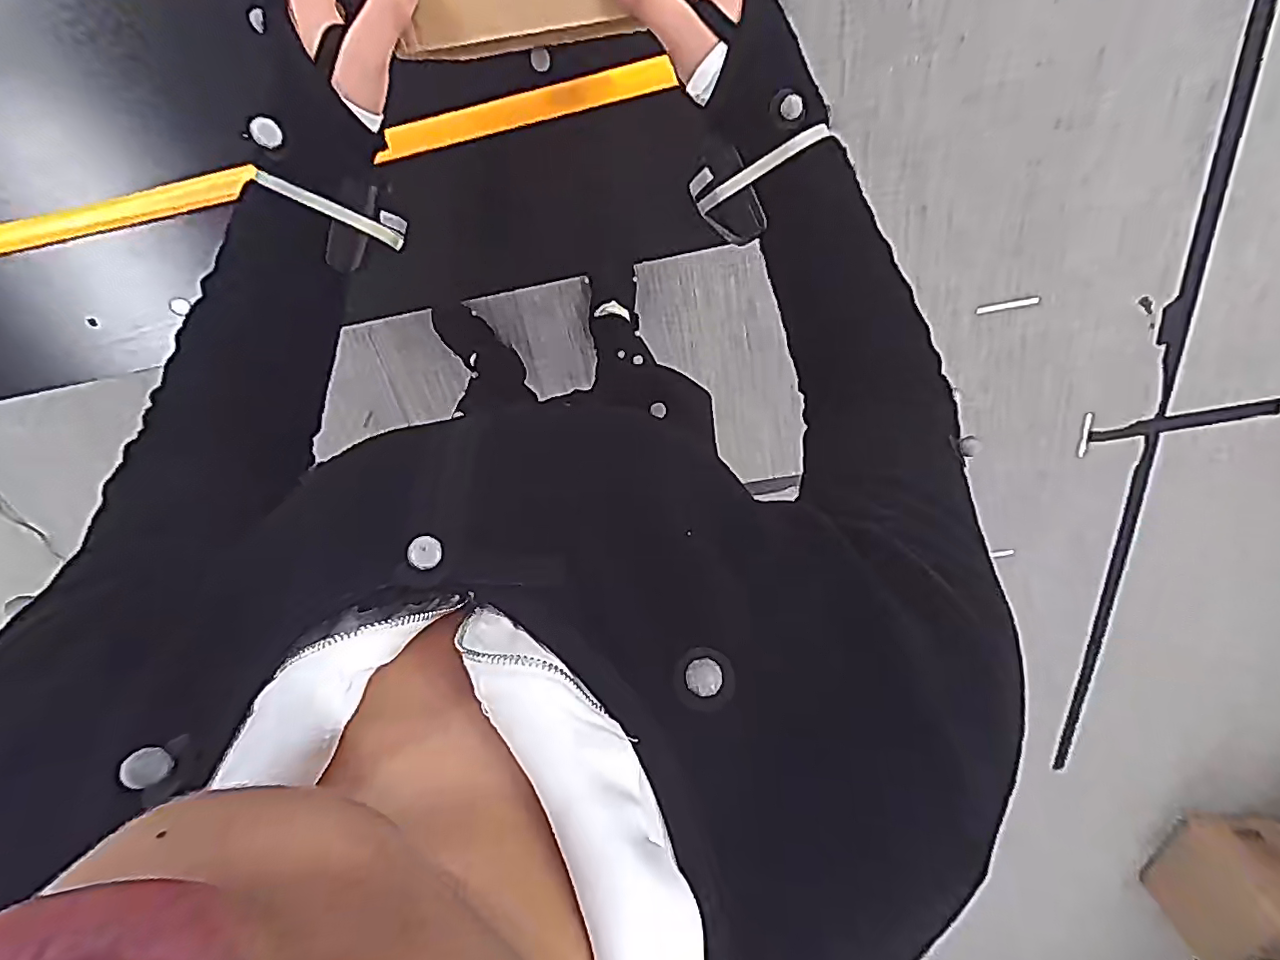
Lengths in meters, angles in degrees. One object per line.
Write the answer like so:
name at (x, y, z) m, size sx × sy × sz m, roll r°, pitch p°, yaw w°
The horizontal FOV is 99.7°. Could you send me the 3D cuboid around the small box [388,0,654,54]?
small box at (-0.082, -0.401, 0.354) m, size 0.168 × 0.176 × 0.179 m, roll -6°, pitch 127°, yaw 4°
